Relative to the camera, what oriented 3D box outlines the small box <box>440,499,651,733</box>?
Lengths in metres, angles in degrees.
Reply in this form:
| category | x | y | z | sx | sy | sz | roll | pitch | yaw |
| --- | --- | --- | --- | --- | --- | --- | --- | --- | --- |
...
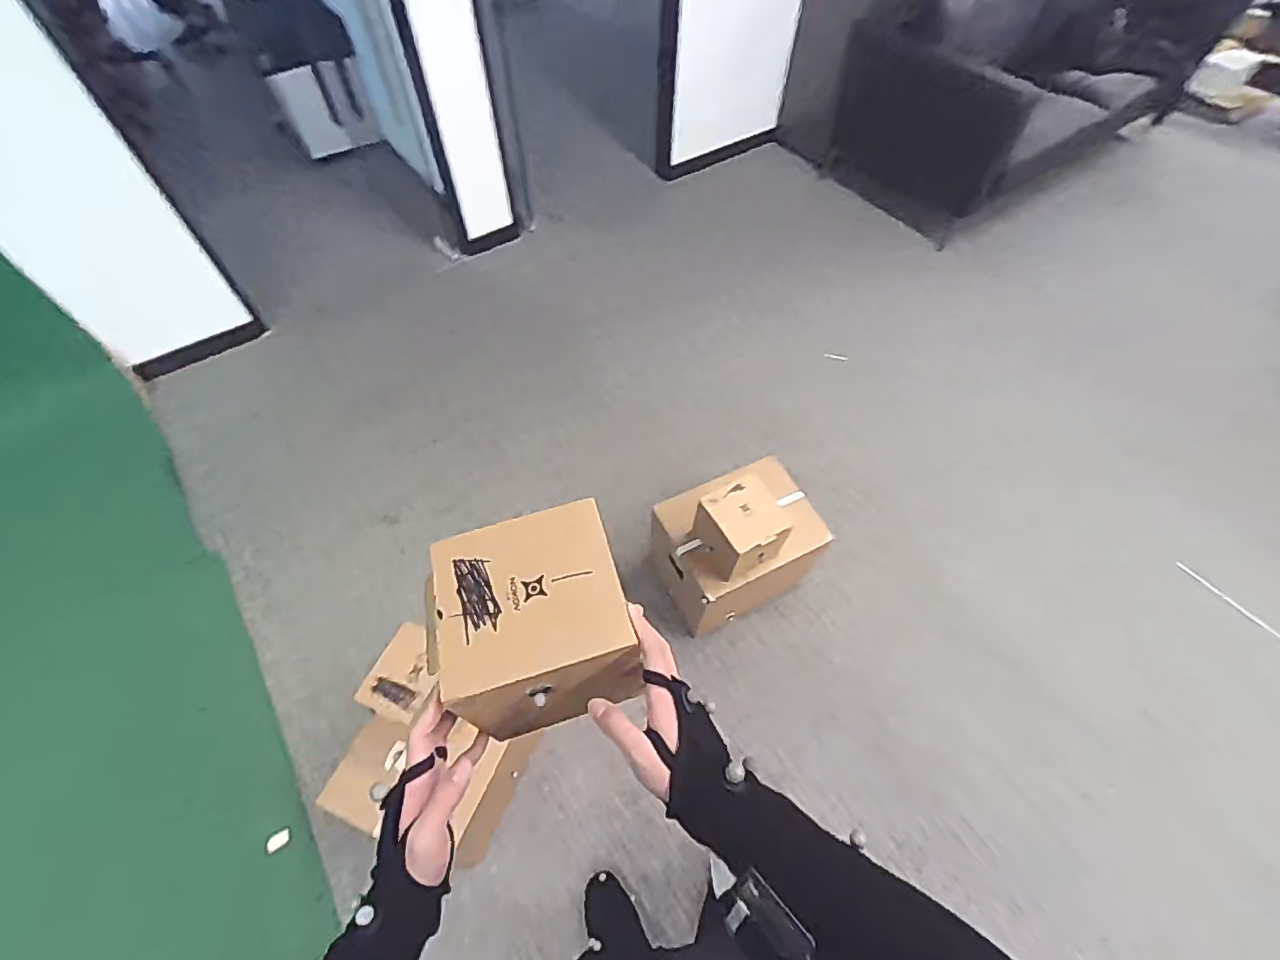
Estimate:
| category | x | y | z | sx | sy | sz | roll | pitch | yaw |
| --- | --- | --- | --- | --- | --- | --- | --- | --- | --- |
| small box | -0.095 | 0.151 | 0.576 | 0.179 | 0.176 | 0.168 | -15 | 55 | -6 |

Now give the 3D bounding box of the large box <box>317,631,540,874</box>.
| category | x | y | z | sx | sy | sz | roll | pitch | yaw |
| --- | --- | --- | --- | --- | --- | --- | --- | --- | --- |
| large box | -0.453 | 0.641 | 1.299 | 0.320 | 0.320 | 0.408 | 19 | 59 | 11 |

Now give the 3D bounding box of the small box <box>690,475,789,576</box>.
| category | x | y | z | sx | sy | sz | roll | pitch | yaw |
| --- | --- | --- | --- | --- | --- | --- | --- | --- | --- |
| small box | 0.243 | 0.123 | 1.367 | 0.168 | 0.176 | 0.179 | -25 | 62 | -17 |
